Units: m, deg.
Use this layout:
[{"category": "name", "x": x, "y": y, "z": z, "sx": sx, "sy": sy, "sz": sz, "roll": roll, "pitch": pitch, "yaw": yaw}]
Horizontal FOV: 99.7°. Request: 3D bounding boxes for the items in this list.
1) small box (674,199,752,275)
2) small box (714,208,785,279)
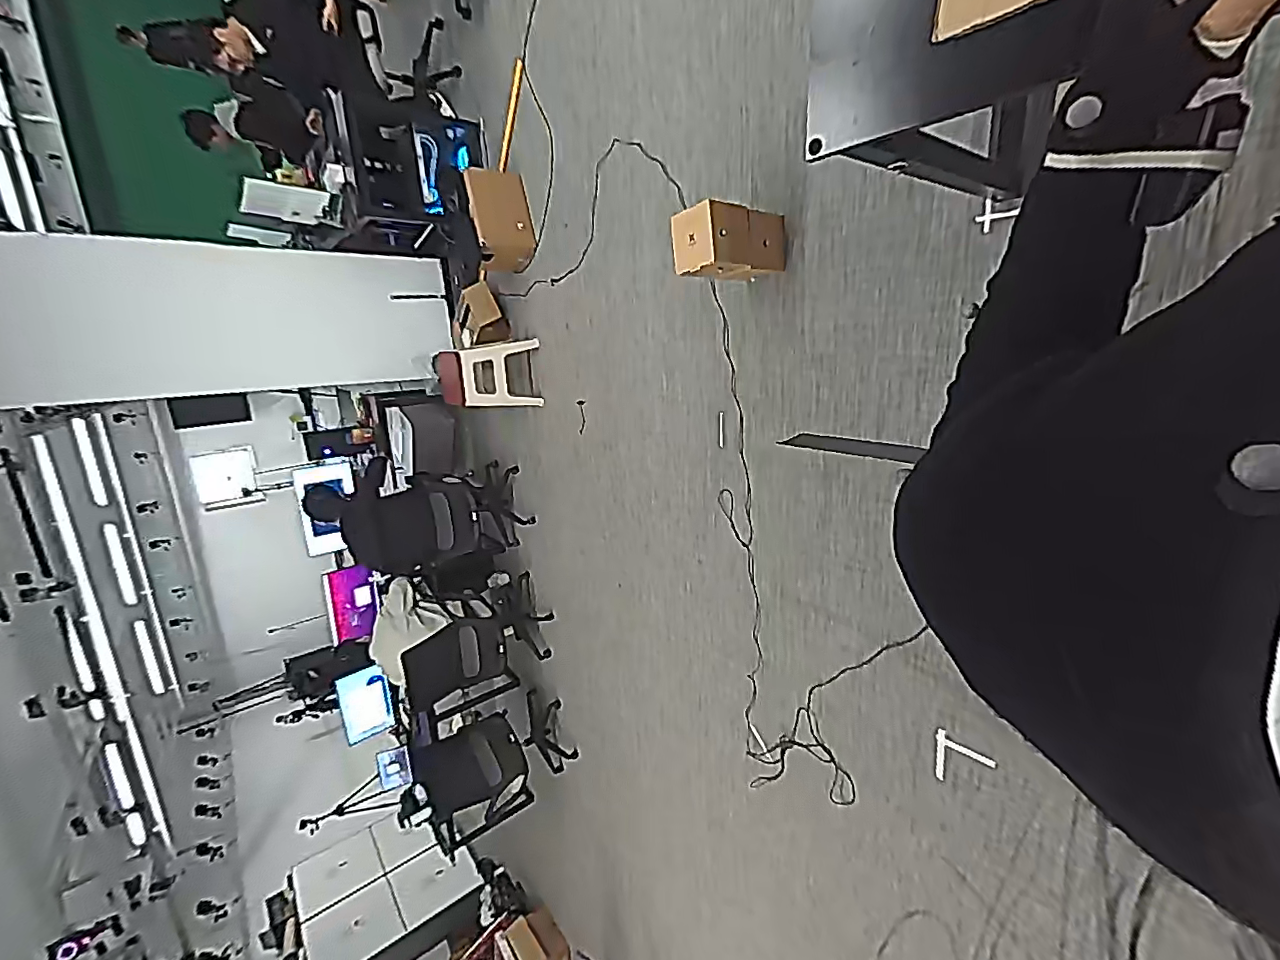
[{"category": "small box", "x": 0.225, "y": -0.730, "z": 1.644, "sx": 0.168, "sy": 0.176, "sz": 0.179, "roll": 5, "pitch": 104, "yaw": 51}, {"category": "small box", "x": 0.353, "y": -0.754, "z": 1.742, "sx": 0.168, "sy": 0.176, "sz": 0.179, "roll": 9, "pitch": 109, "yaw": 51}]
